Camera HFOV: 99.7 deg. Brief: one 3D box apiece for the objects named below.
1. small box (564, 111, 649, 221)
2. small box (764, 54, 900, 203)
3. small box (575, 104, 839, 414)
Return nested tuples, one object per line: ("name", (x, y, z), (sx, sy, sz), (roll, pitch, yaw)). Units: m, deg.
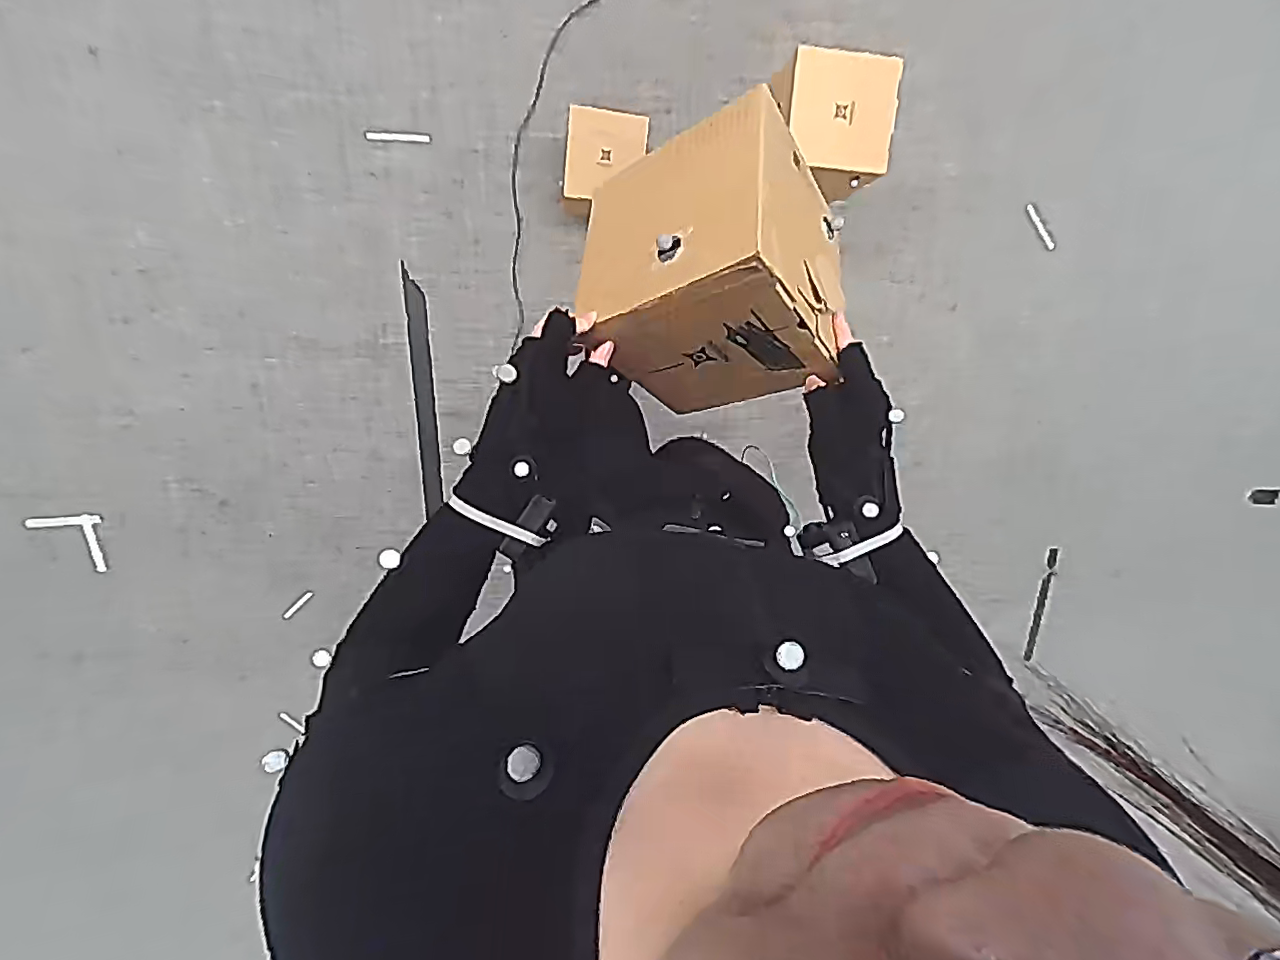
("small box", (-0.079, -0.683, 1.209), (0.168, 0.176, 0.179), (5, 104, -8))
("small box", (0.309, -0.591, 0.933), (0.179, 0.176, 0.168), (1, 105, -7))
("small box", (0.065, -0.185, 0.493), (0.168, 0.179, 0.176), (29, 60, -46))
